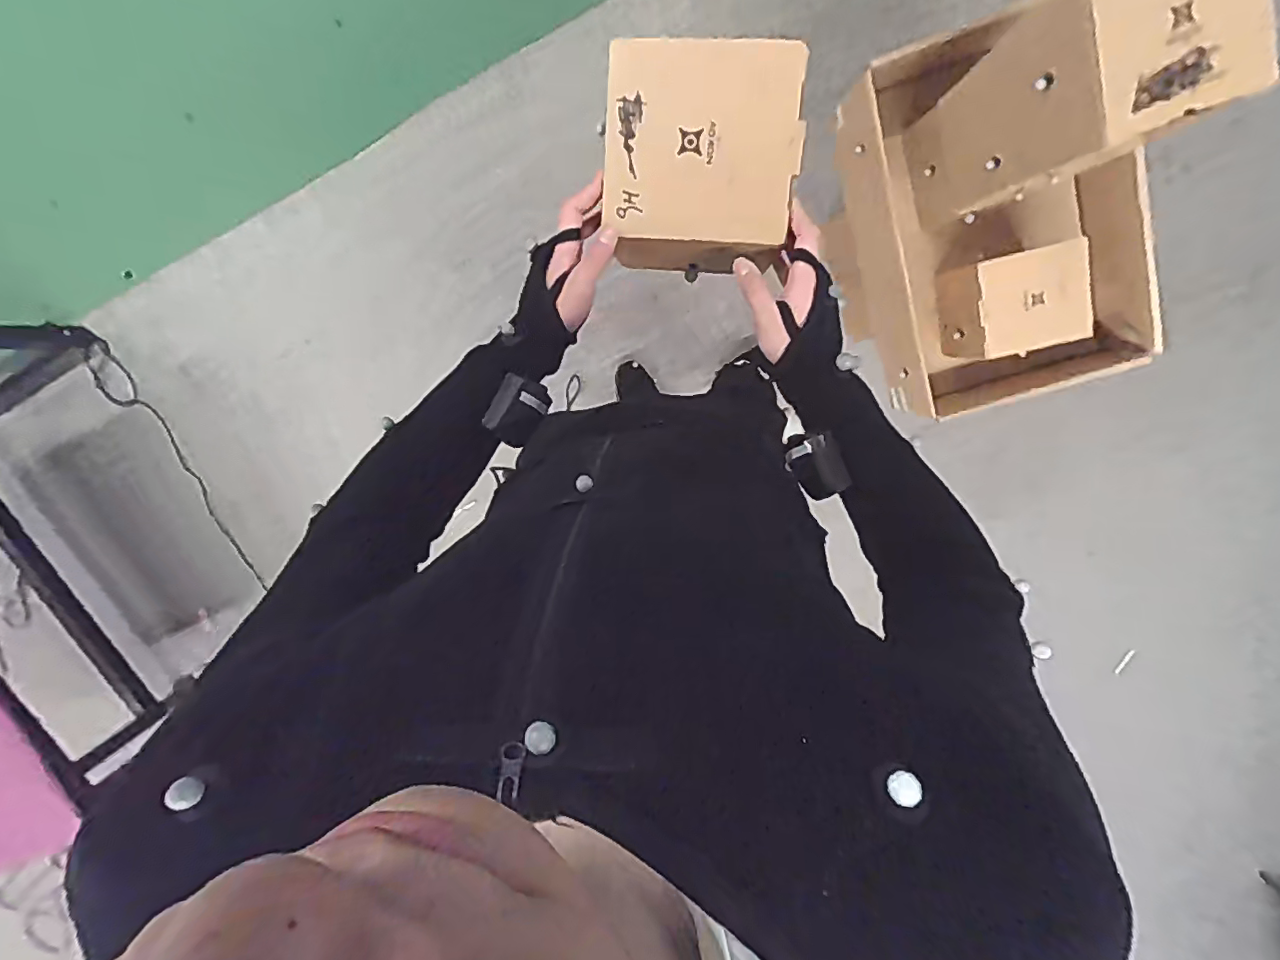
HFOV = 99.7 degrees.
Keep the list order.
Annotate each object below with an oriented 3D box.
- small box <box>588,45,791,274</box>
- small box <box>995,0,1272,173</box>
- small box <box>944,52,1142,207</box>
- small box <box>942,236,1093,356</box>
[{"bbox_3d":[0.048,-0.320,0.574,0.179,0.176,0.168,5,103,5],"label":"small box"},{"bbox_3d":[0.546,-0.479,0.620,0.168,0.176,0.179,-17,103,9],"label":"small box"},{"bbox_3d":[0.564,-0.523,0.778,0.168,0.176,0.179,-15,104,9],"label":"small box"},{"bbox_3d":[0.675,-0.328,0.989,0.179,0.176,0.168,-11,104,8],"label":"small box"}]
